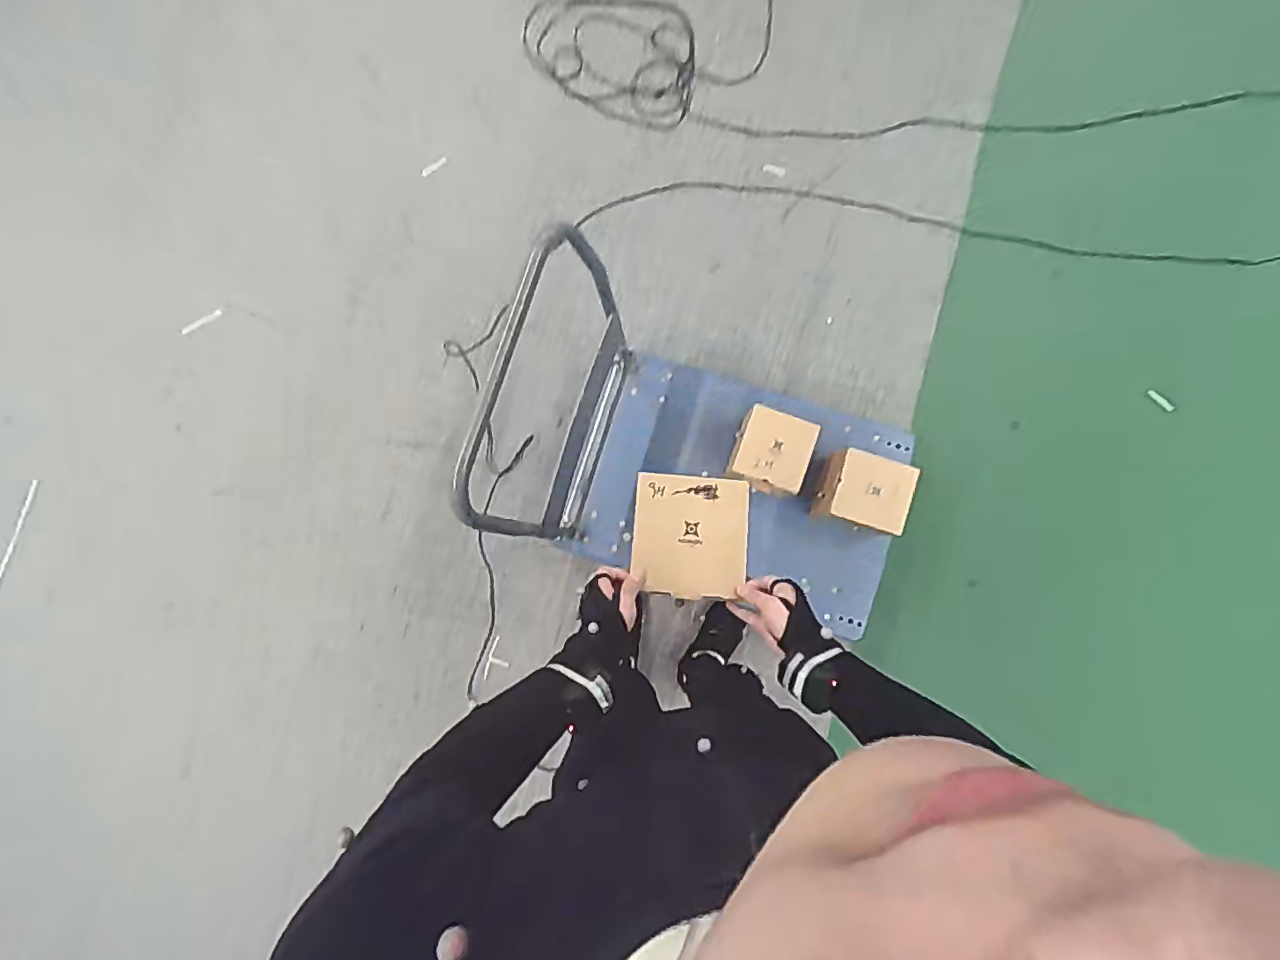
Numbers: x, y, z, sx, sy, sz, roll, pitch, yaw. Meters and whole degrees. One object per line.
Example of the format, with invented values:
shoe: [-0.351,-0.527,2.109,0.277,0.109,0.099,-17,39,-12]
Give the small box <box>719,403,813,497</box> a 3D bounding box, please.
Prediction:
small box: [0.306,-0.068,1.351,0.168,0.176,0.179,21,85,4]

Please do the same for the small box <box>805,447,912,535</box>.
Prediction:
small box: [0.529,0.035,1.336,0.179,0.176,0.168,19,85,3]

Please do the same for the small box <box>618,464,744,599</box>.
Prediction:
small box: [0.059,0.085,0.837,0.168,0.176,0.179,6,79,0]
